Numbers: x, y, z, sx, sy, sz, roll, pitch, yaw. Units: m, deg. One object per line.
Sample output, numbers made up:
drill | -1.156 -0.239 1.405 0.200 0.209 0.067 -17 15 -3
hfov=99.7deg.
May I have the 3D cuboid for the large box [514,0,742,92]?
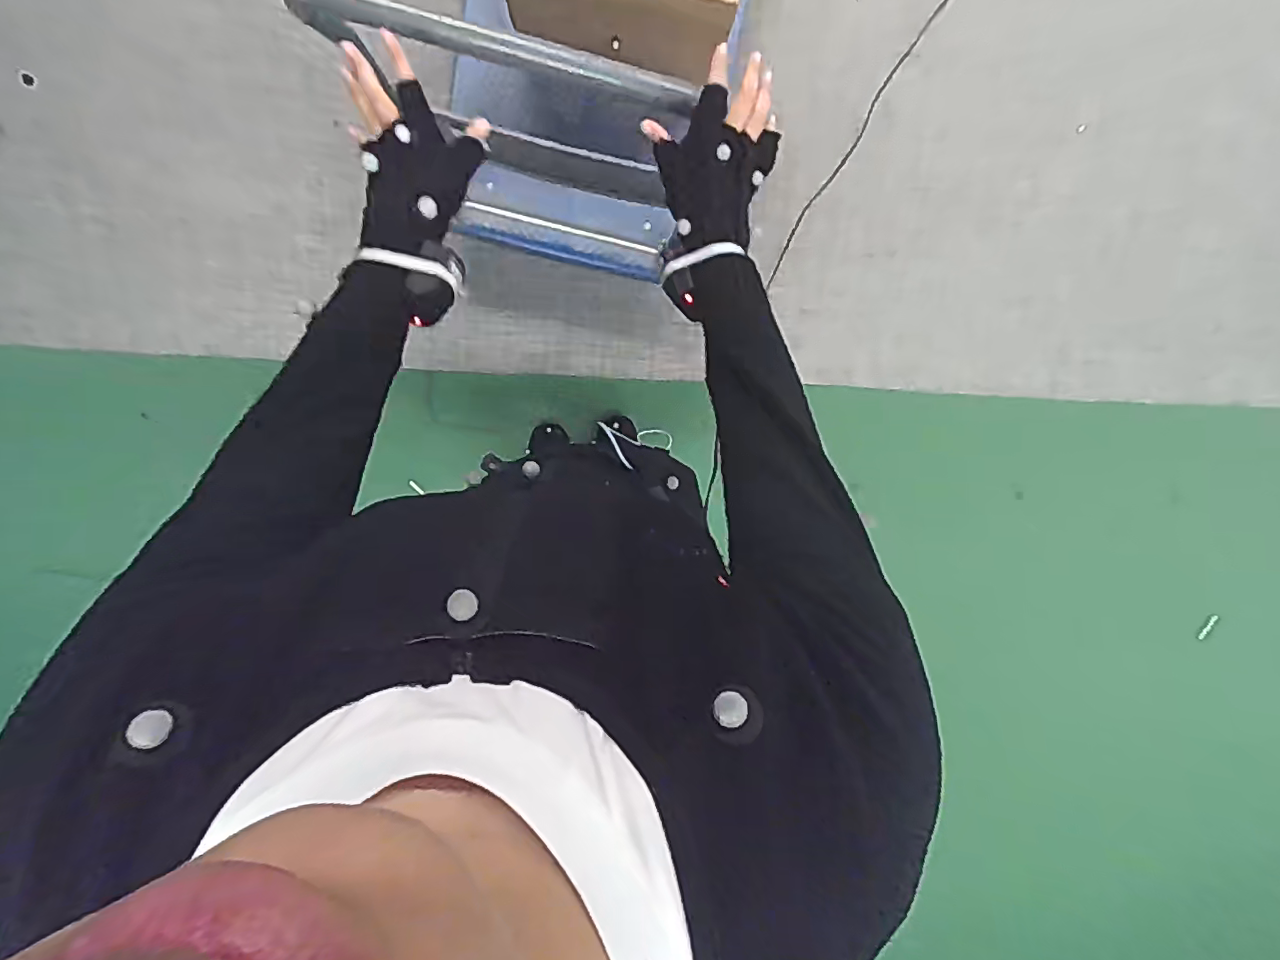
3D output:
large box | -0.009 -0.989 0.990 0.408 0.320 0.320 10 98 -5
